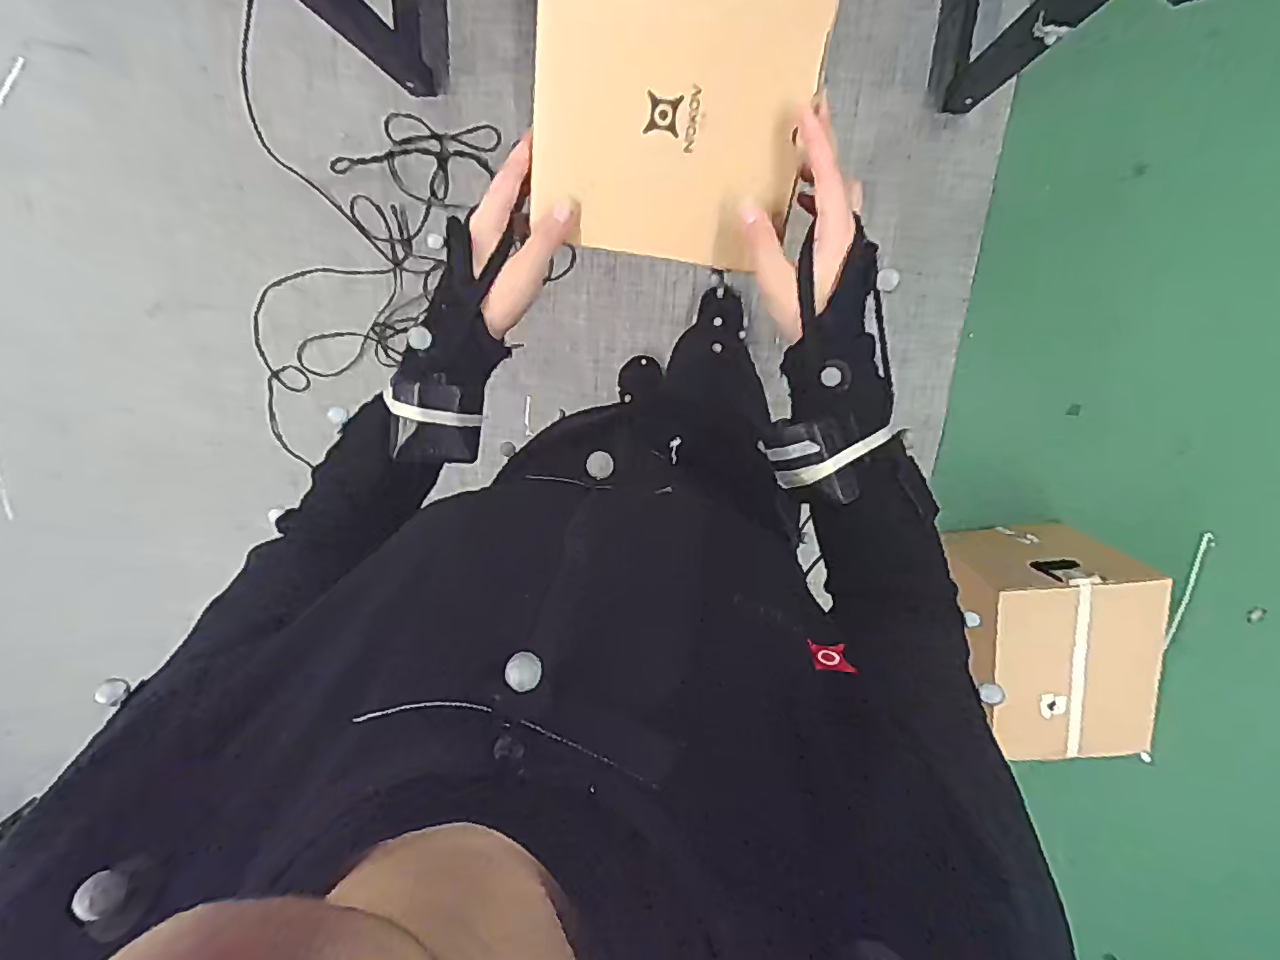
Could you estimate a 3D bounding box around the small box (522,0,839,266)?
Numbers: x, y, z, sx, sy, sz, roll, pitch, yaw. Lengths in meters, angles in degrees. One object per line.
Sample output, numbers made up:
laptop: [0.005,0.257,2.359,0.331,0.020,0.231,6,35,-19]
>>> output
small box: [0.024,-0.262,0.402,0.179,0.176,0.168,9,115,0]
